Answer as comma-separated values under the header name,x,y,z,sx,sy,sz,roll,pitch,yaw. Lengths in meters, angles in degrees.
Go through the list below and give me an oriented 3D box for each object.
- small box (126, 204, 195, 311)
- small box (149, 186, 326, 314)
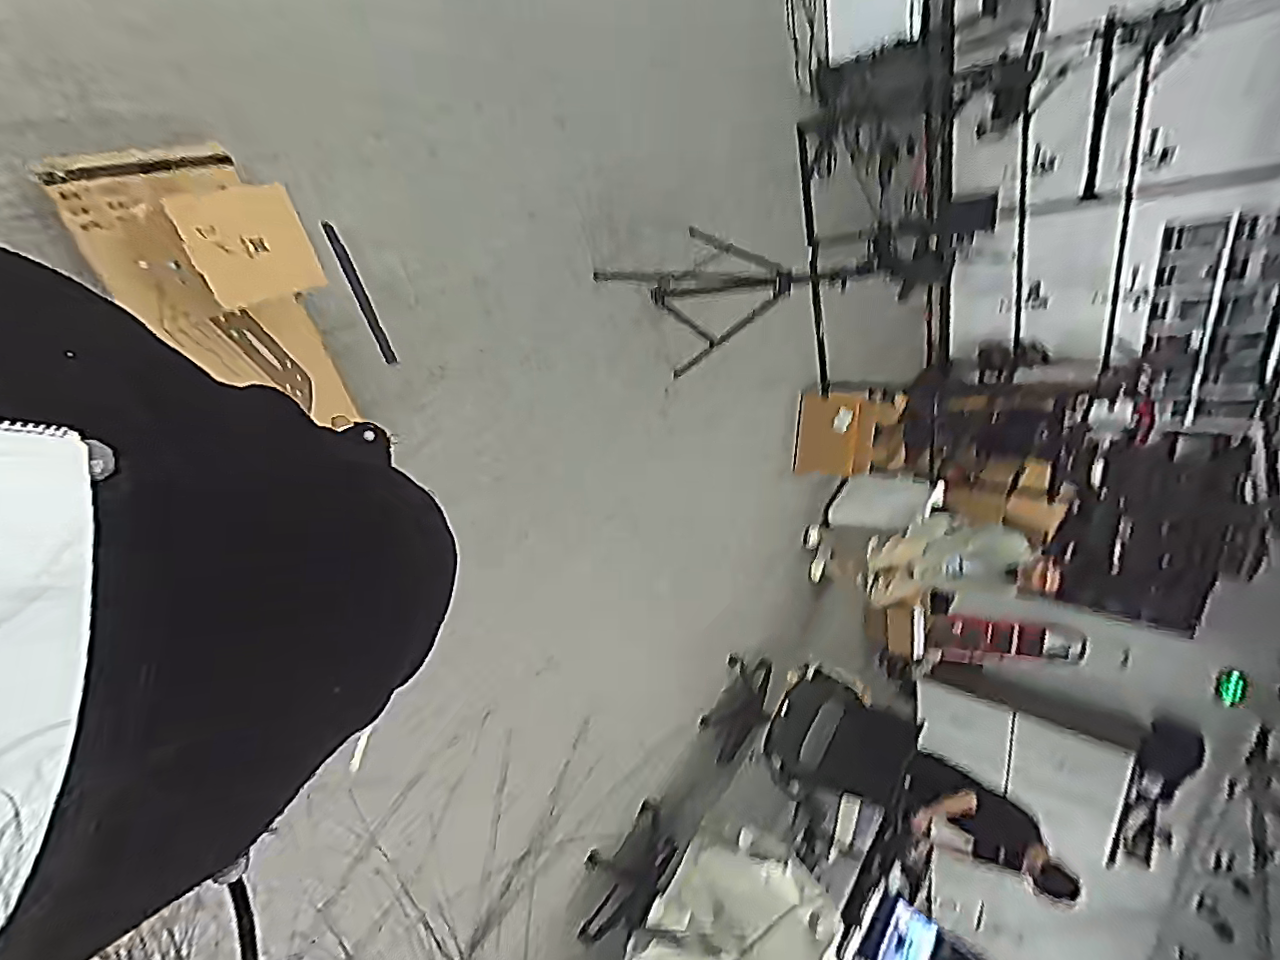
name,x,y,z,sx,sy,sz,roll,pitch,yaw
small box,-0.819,-0.428,1.025,0.179,0.176,0.168,-37,124,-36
small box,-0.688,-0.390,0.928,0.179,0.176,0.168,-36,123,-38
